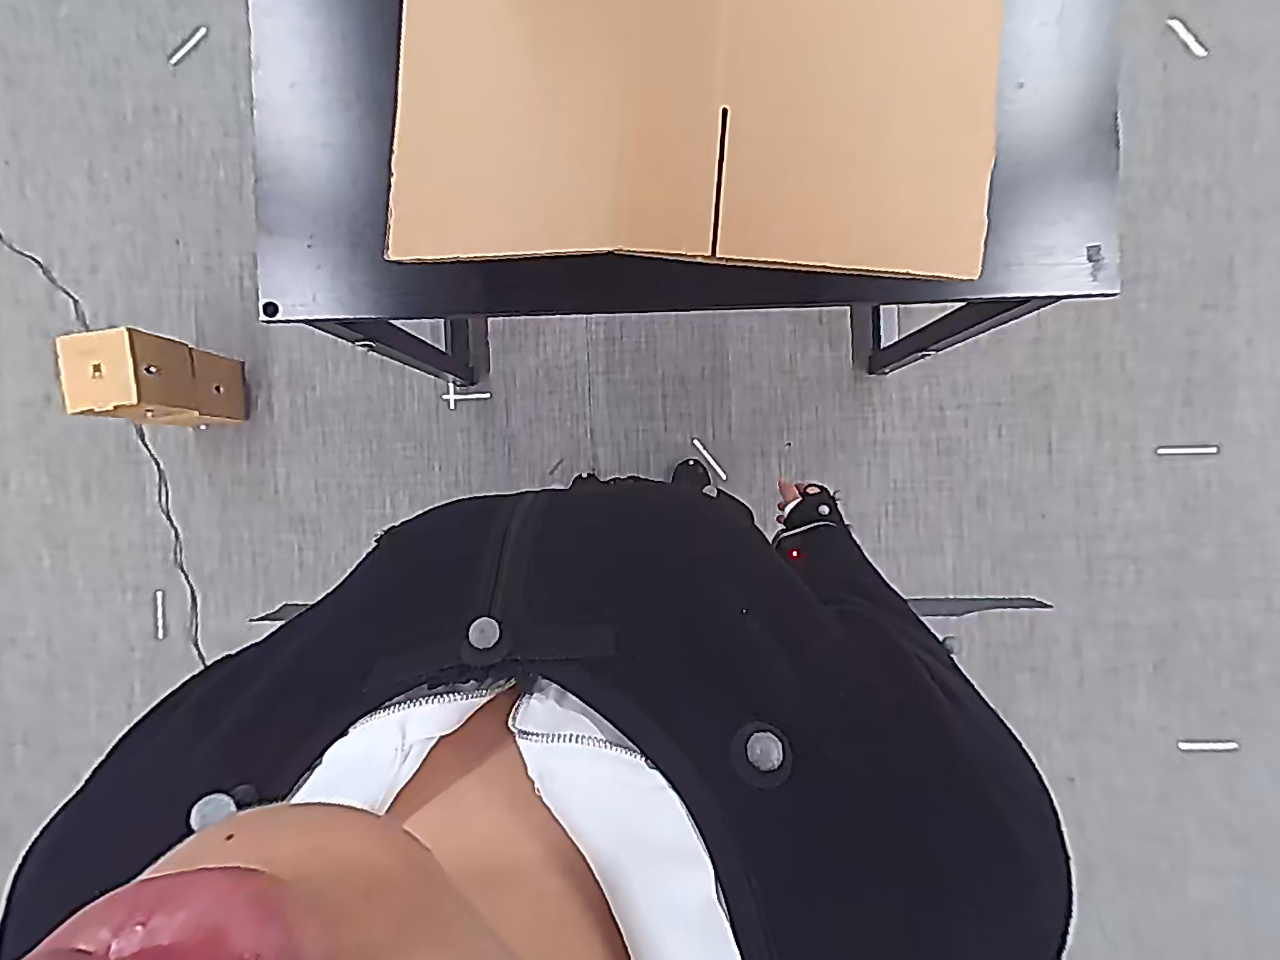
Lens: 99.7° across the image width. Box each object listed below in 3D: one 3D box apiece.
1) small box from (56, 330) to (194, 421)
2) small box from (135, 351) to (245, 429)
[{"bbox_3d":[-1.207,-0.239,1.282,0.168,0.176,0.179,-8,89,1],"label":"small box"},{"bbox_3d":[-1.200,-0.235,1.444,0.168,0.176,0.179,-5,91,2],"label":"small box"}]
